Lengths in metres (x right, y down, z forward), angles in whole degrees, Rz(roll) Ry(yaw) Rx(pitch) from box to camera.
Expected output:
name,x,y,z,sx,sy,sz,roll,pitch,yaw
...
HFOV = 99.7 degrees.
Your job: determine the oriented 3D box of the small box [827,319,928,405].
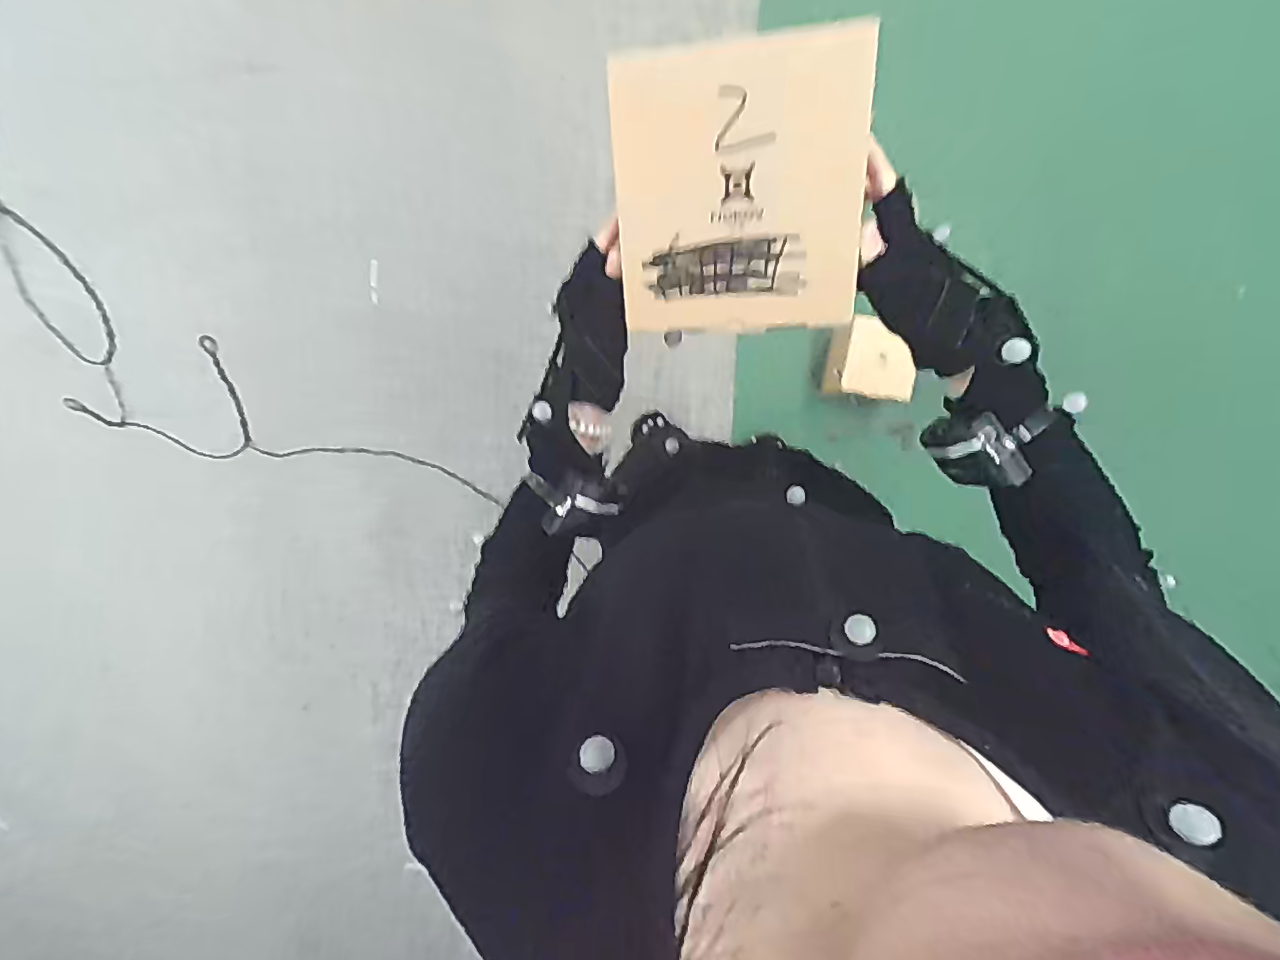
name,x,y,z,sx,sy,sz,roll,pitch,yaw
small box,0.579,-0.287,1.344,0.168,0.176,0.179,10,97,2
